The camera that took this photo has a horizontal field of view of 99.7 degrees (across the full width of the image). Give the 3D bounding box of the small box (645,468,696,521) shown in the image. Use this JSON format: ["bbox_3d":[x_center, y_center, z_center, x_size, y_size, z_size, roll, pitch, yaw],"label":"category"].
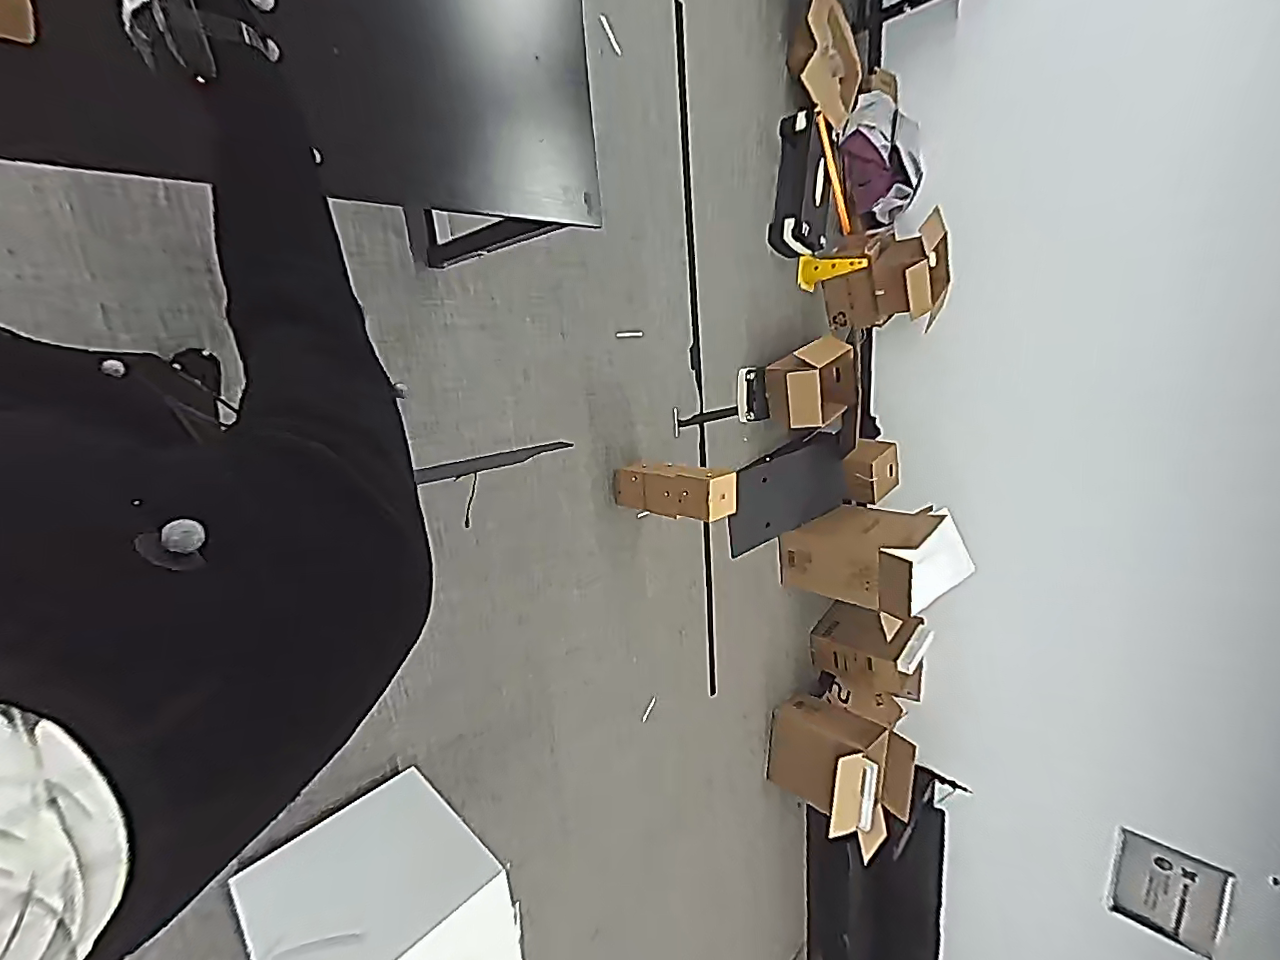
[{"bbox_3d":[0.135,0.053,2.214,0.168,0.176,0.179,-18,111,-44],"label":"small box"}]

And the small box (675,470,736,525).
[{"bbox_3d":[0.256,0.062,2.105,0.179,0.176,0.168,-15,108,-44],"label":"small box"}]
